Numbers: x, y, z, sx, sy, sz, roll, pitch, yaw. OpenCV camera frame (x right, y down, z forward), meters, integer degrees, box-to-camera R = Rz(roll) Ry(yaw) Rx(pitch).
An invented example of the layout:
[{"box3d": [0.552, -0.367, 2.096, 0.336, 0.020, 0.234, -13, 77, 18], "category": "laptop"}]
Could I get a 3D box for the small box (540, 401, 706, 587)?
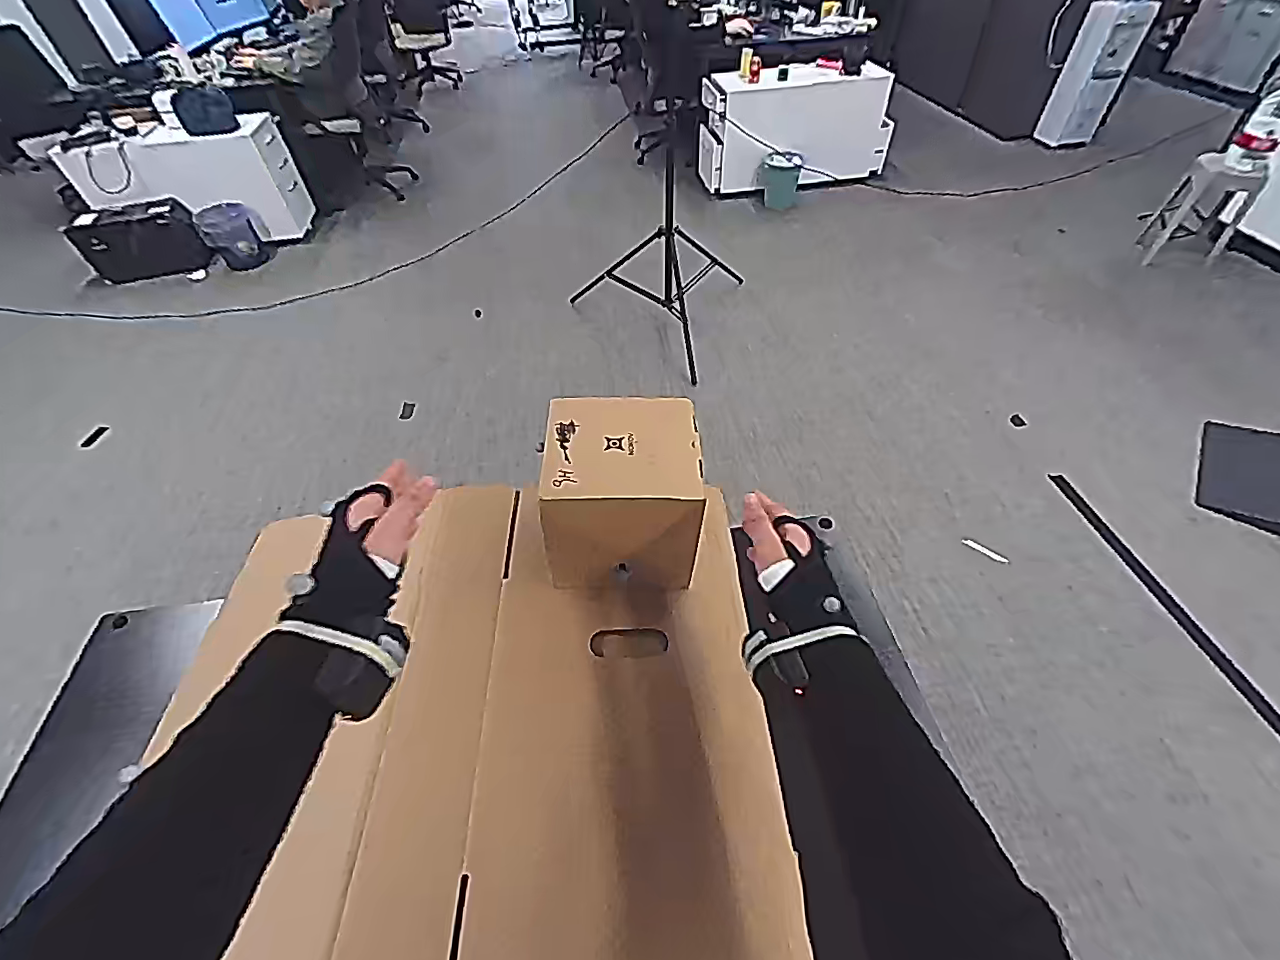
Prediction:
[{"box3d": [-0.023, 0.021, 0.673, 0.179, 0.176, 0.168, 0, 46, -3], "category": "small box"}]
